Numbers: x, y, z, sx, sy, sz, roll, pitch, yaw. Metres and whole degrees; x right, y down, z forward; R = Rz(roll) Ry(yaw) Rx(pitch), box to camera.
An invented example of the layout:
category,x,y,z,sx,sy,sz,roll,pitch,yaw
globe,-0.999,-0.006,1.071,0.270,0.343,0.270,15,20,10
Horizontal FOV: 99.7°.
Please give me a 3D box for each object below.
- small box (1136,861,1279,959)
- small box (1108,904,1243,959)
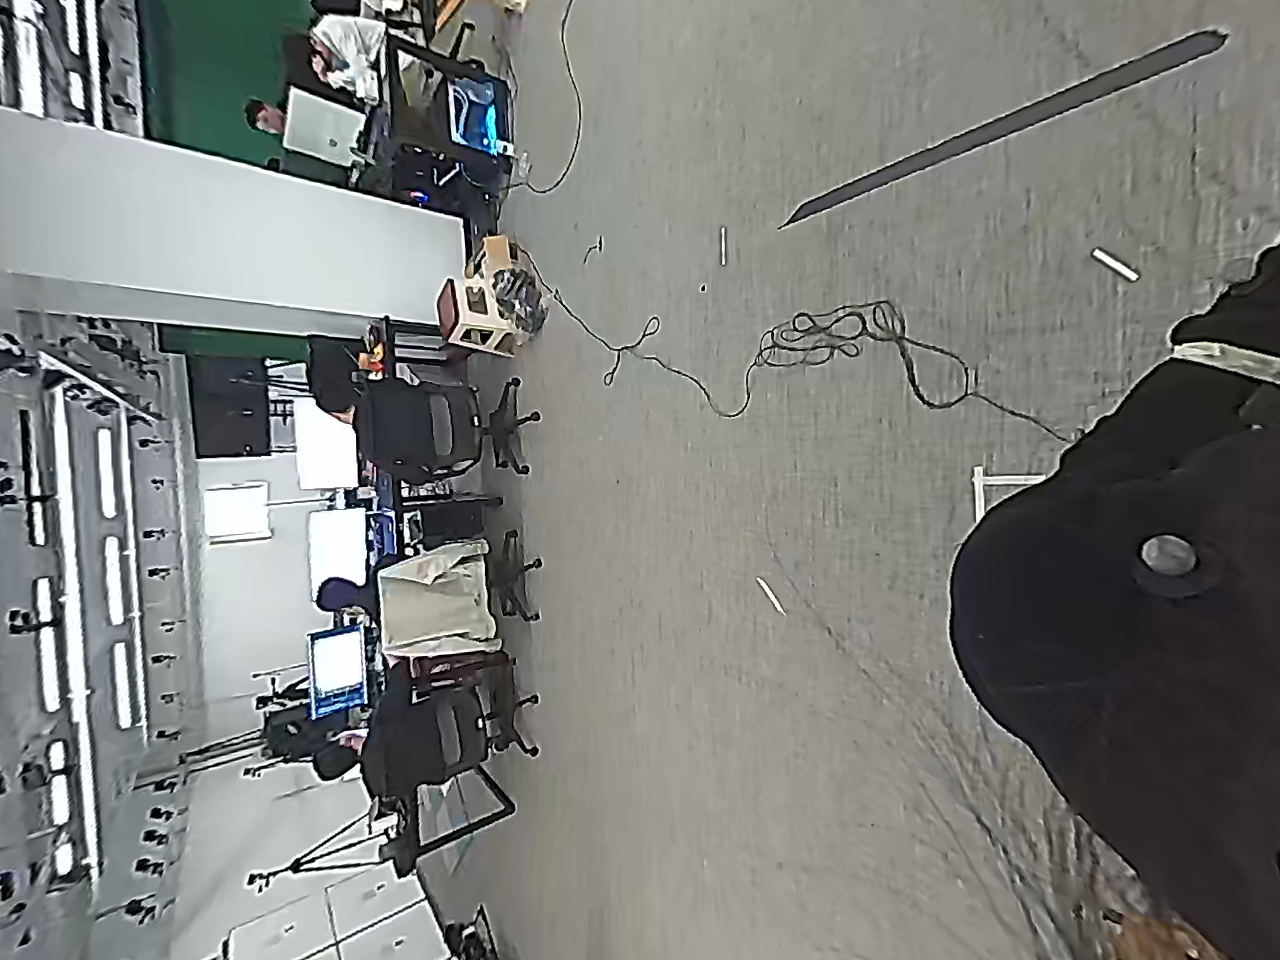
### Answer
category,x,y,z,sx,sy,sz,roll,pitch,yaw
small box,0.977,0.808,0.927,0.179,0.176,0.168,6,97,52
small box,0.842,0.820,0.835,0.168,0.176,0.179,6,97,52
